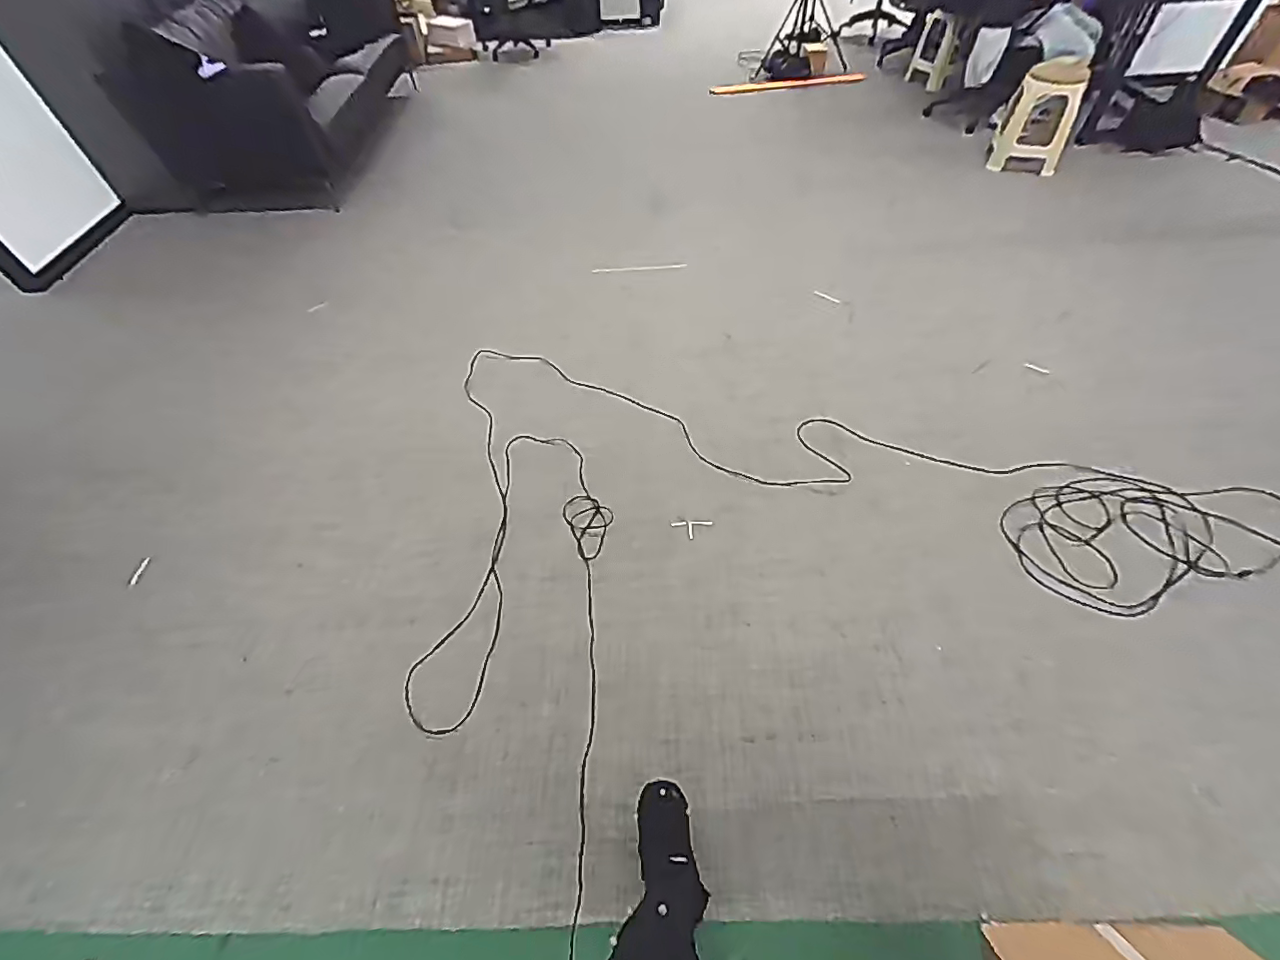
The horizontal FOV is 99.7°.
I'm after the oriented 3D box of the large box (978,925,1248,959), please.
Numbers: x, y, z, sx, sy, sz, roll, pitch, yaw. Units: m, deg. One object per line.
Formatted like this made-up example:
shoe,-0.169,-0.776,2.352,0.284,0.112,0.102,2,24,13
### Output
large box,0.618,0.752,0.538,0.320,0.408,0.320,-4,82,7
